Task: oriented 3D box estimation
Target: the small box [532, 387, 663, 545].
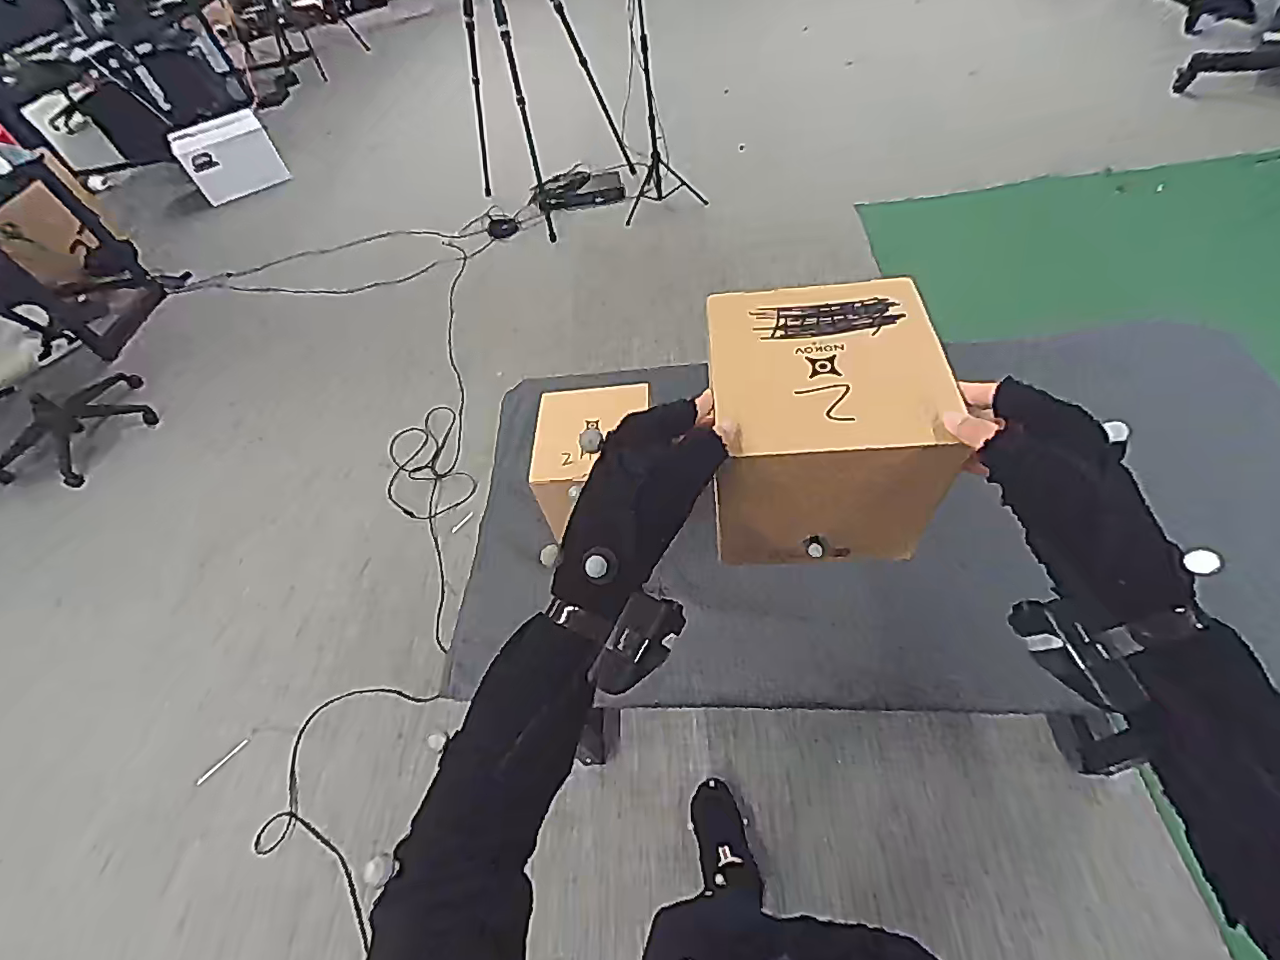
[{"bbox_3d":[-0.054,-0.019,0.834,0.168,0.176,0.179,-4,52,6],"label":"small box"}]
